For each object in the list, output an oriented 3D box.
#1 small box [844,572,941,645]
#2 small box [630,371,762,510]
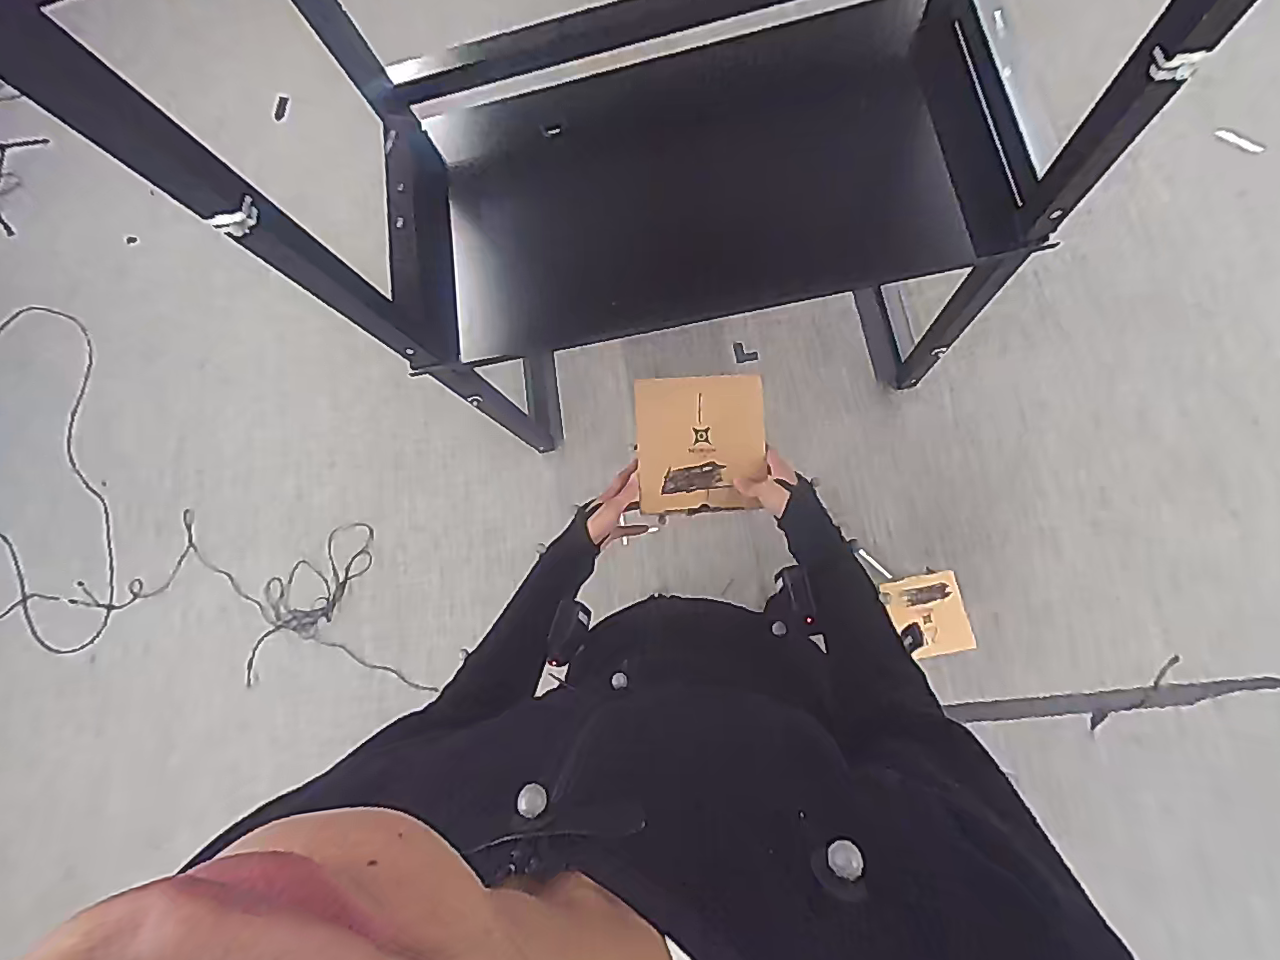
[{"bbox_3d":[0.668,0.338,1.448,0.179,0.176,0.168,-10,78,8],"label":"small box"},{"bbox_3d":[0.073,-0.047,0.769,0.168,0.176,0.179,-2,85,0],"label":"small box"}]
